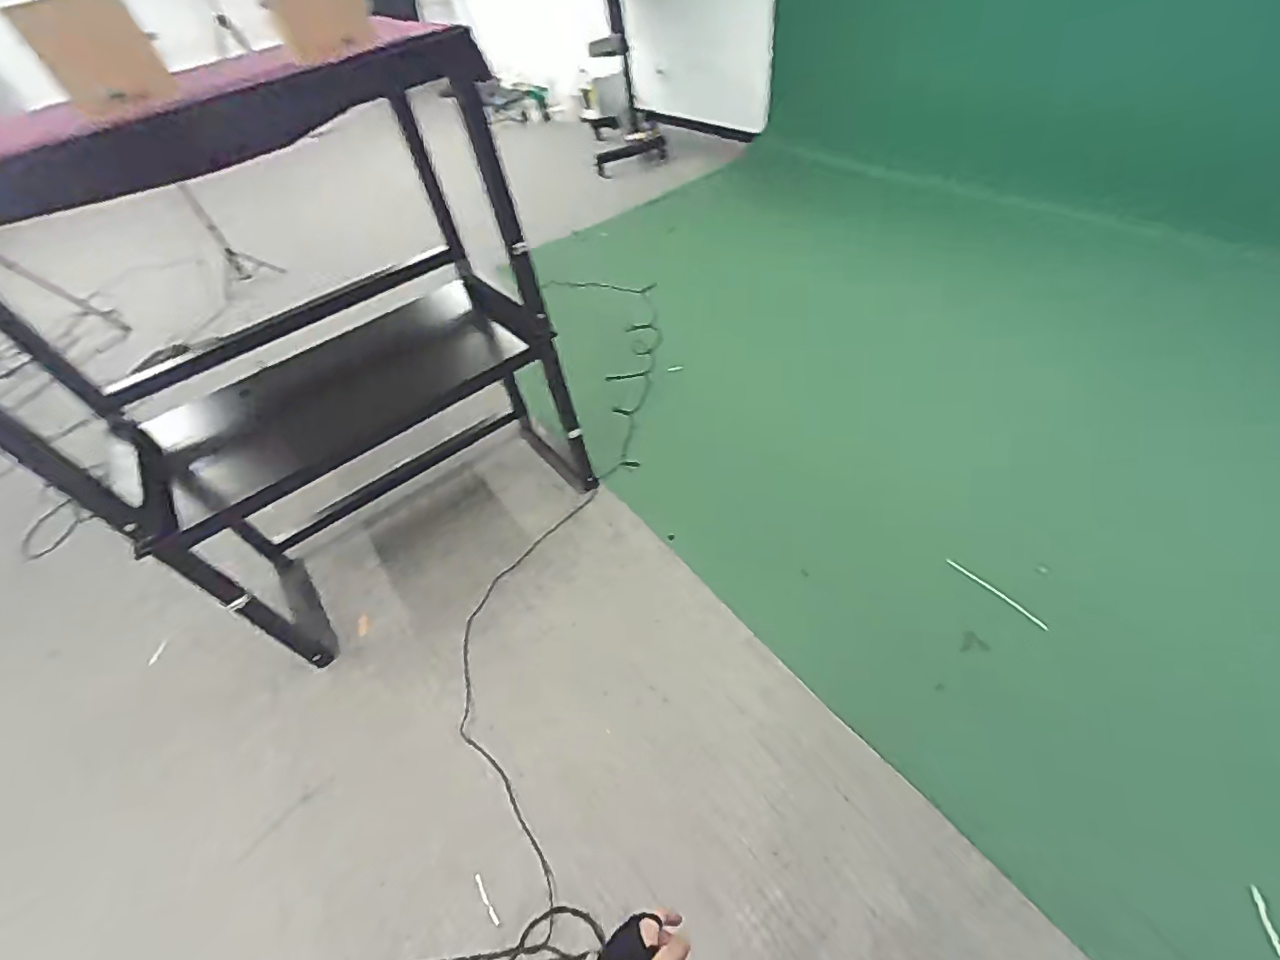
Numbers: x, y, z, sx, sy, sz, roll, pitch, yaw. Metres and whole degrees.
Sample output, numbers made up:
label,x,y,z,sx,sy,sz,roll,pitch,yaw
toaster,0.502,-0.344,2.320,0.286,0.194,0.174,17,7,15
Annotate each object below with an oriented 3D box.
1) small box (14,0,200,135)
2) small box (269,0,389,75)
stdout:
label,x,y,z,sx,sy,sz,roll,pitch,yaw
small box,-0.939,-0.745,0.973,0.168,0.176,0.179,-32,50,-17
small box,-0.643,-0.949,1.099,0.168,0.176,0.179,-32,50,-16
